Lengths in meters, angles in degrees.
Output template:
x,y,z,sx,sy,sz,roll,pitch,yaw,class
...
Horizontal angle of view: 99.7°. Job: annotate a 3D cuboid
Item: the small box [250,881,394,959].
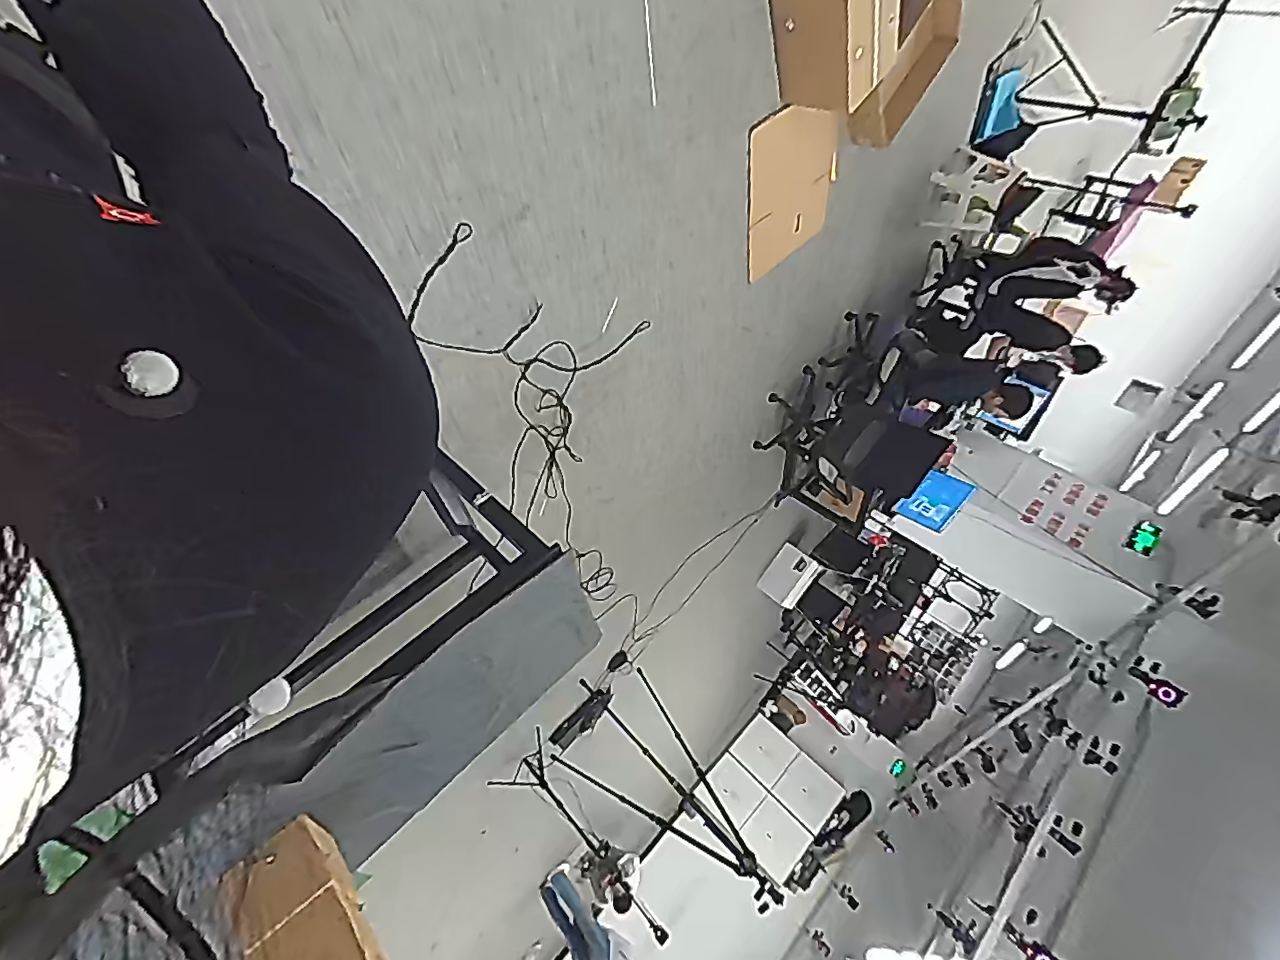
x,y,z,sx,sy,sz,roll,pitch,yaw,class
-0.625,0.950,1.072,0.179,0.176,0.168,-31,141,-31,small box
